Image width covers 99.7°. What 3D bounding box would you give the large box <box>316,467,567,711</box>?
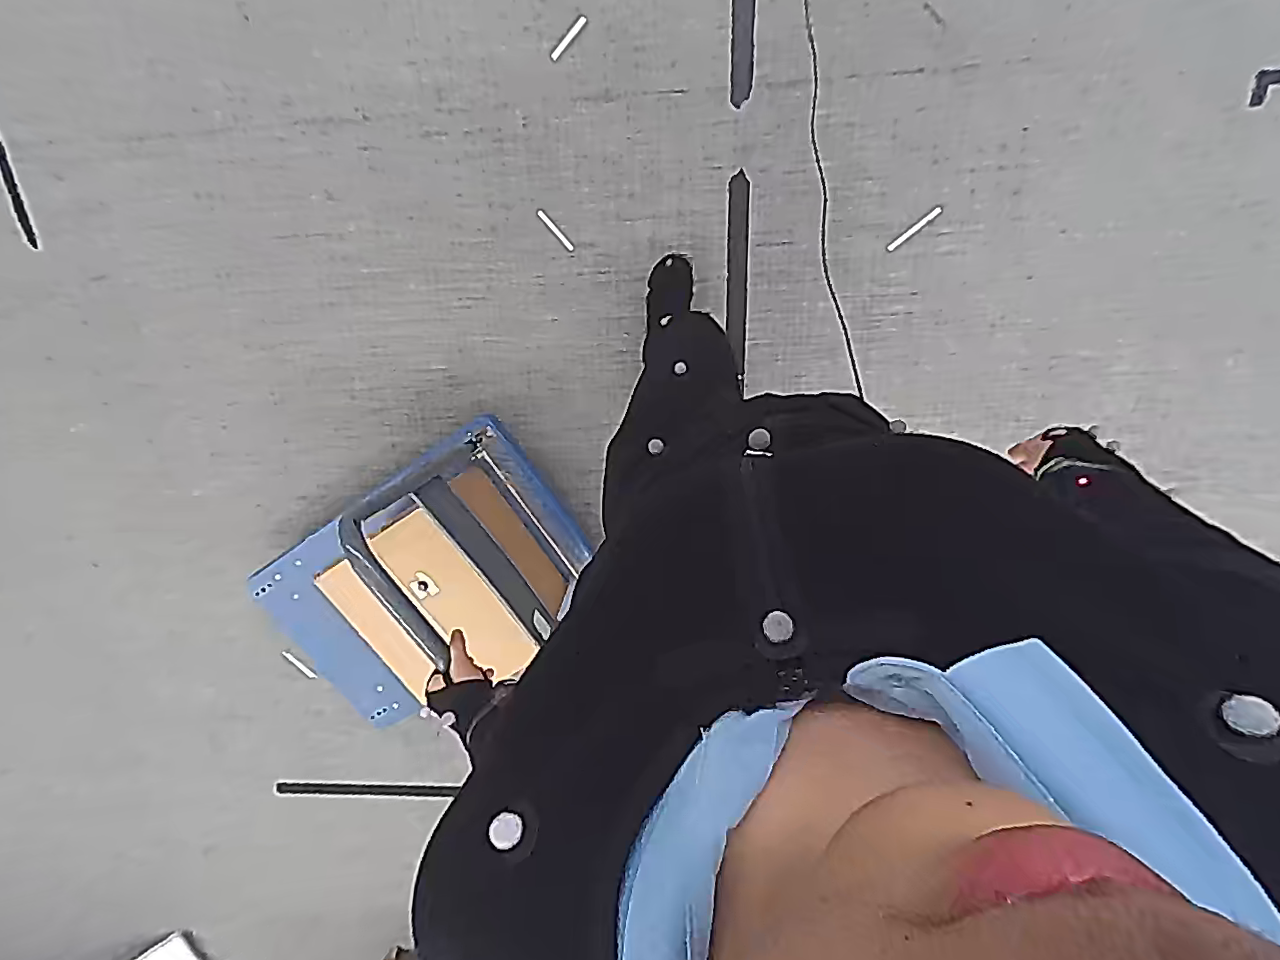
[{"bbox_3d":[-0.433,0.243,1.278,0.320,0.320,0.408,-32,102,12],"label":"large box"}]
